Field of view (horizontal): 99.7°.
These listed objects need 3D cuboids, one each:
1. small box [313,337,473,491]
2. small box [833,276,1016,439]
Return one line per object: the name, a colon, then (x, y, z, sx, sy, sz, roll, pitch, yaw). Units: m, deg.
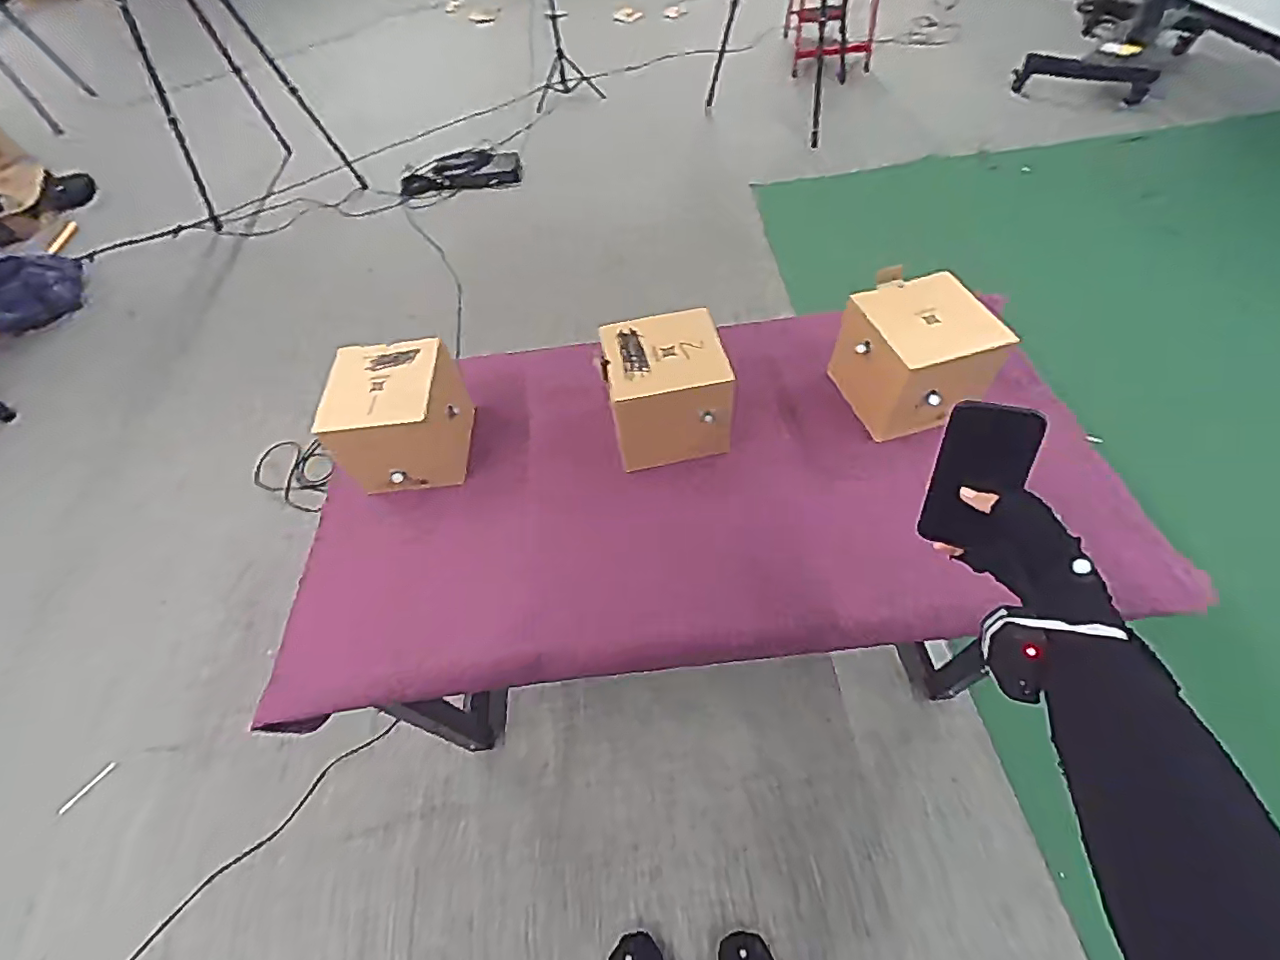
small box: (-0.380, -0.103, 0.871, 0.168, 0.176, 0.179, -5, 57, 2)
small box: (0.430, -0.184, 0.853, 0.168, 0.176, 0.179, -15, 55, -4)
